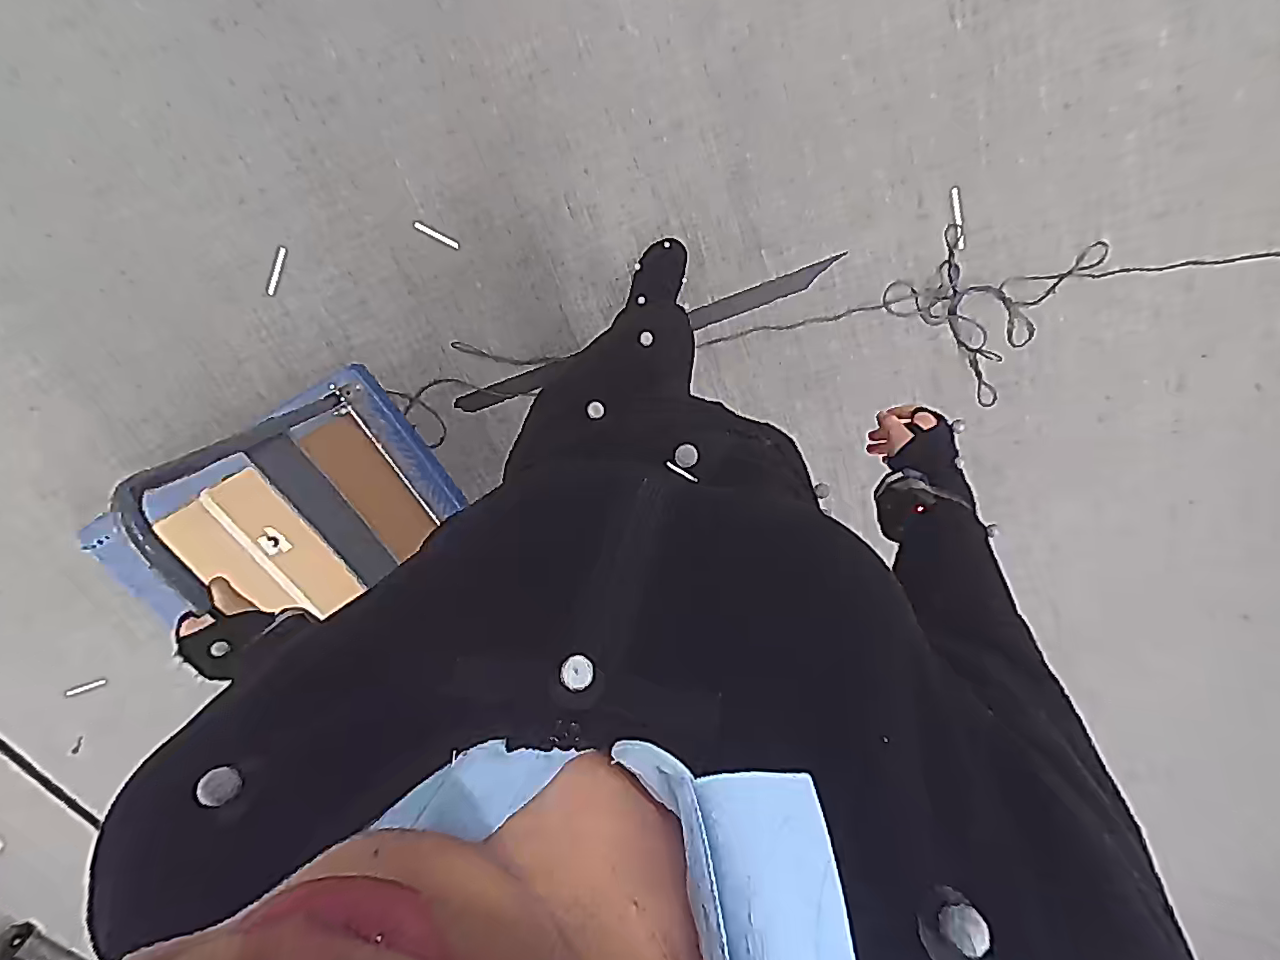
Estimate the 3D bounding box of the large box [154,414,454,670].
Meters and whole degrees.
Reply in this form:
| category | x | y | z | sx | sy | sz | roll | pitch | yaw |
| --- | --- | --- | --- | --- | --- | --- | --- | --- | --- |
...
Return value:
| category | x | y | z | sx | sy | sz | roll | pitch | yaw |
| --- | --- | --- | --- | --- | --- | --- | --- | --- | --- |
| large box | -0.691 | 0.125 | 1.196 | 0.320 | 0.320 | 0.408 | -28 | 109 | 8 |
